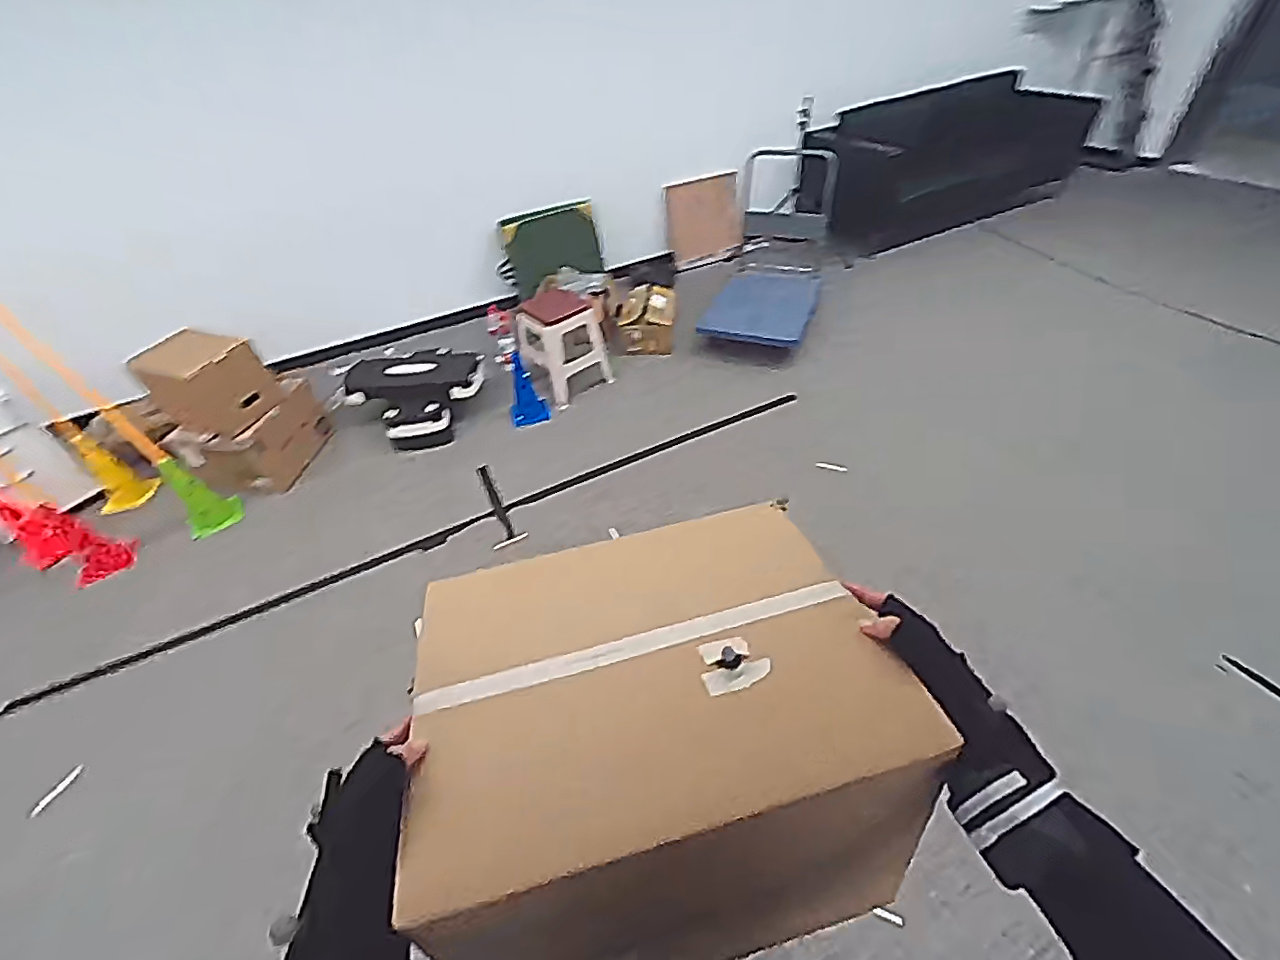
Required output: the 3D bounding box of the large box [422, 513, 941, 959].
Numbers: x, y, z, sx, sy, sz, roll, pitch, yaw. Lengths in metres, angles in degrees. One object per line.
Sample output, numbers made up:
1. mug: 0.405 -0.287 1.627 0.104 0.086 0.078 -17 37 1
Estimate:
1. large box: 0.022 0.286 0.588 0.408 0.320 0.320 -13 35 -8
